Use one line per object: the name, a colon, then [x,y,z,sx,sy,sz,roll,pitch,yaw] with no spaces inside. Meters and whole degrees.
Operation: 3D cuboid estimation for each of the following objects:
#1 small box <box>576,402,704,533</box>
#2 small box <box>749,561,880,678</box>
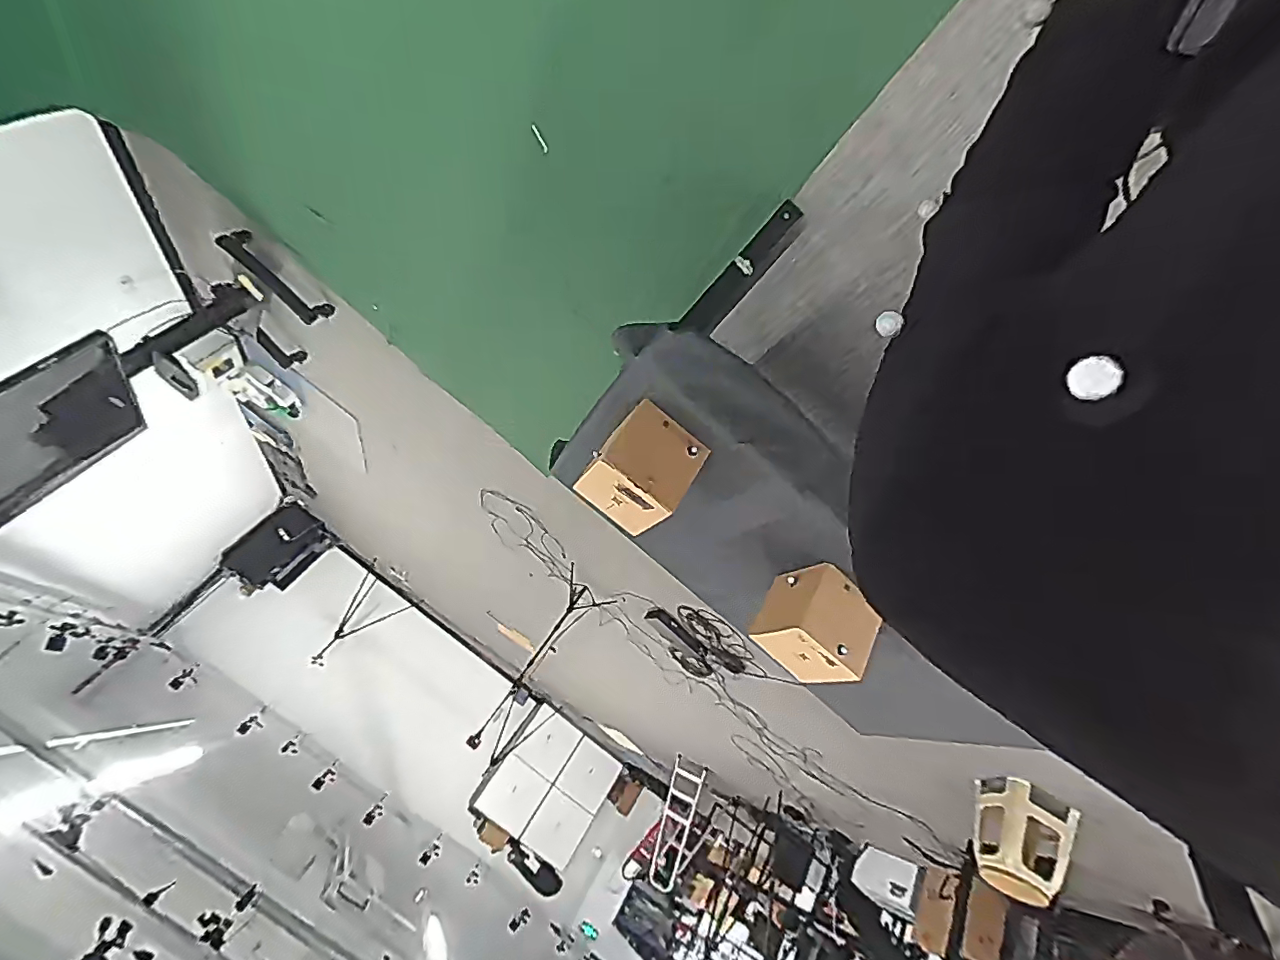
small box: [0.004,-0.025,1.075,0.168,0.176,0.179,39,150,-8]
small box: [0.370,0.296,1.141,0.168,0.176,0.179,41,150,-6]
